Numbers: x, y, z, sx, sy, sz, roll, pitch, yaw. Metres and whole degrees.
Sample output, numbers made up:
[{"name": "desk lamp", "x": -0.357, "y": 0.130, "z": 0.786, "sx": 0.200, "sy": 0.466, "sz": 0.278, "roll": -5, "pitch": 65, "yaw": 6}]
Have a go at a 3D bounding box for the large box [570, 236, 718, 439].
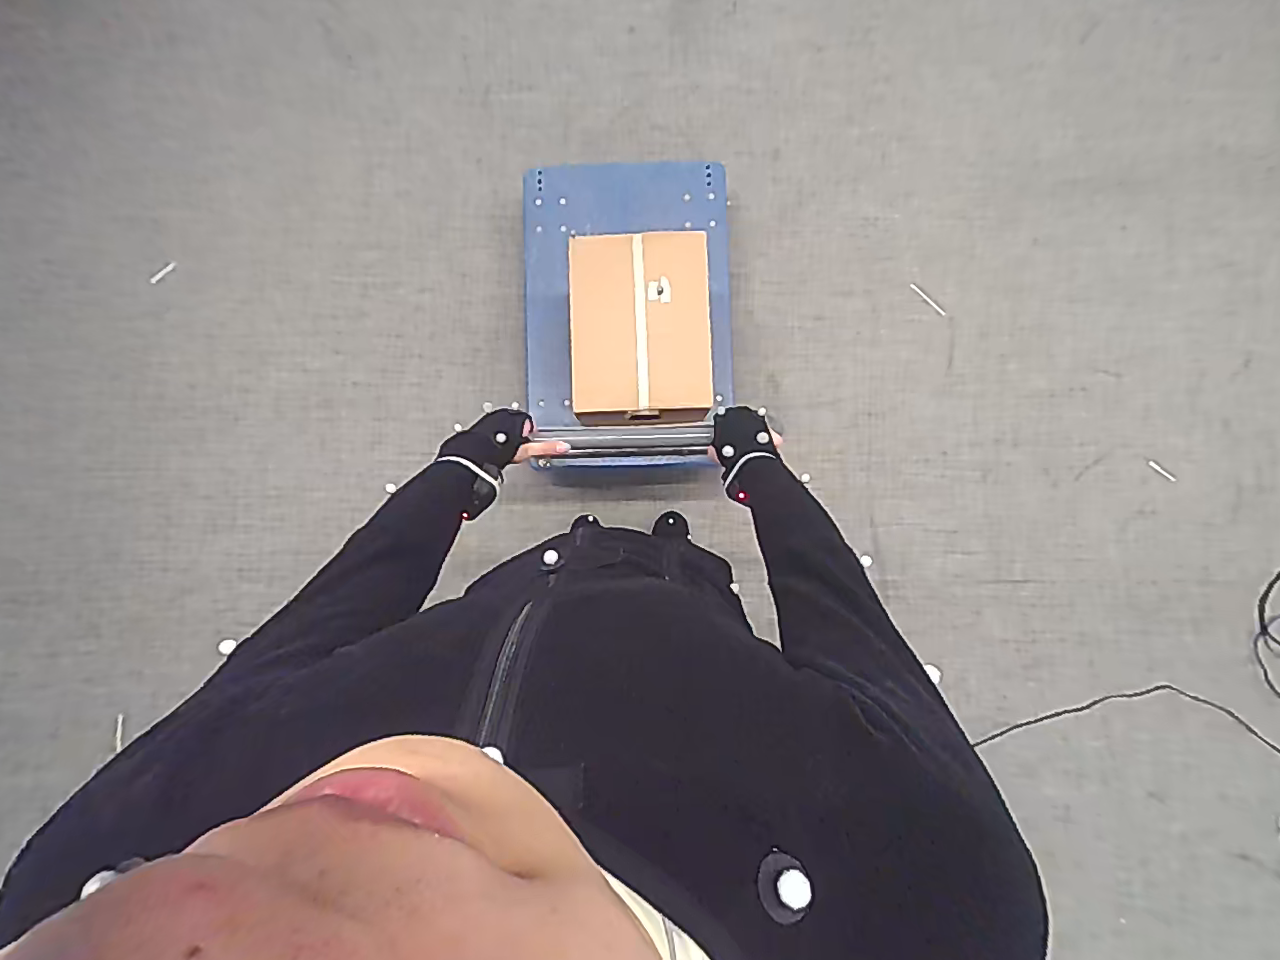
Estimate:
[{"name": "large box", "x": 0.008, "y": -0.328, "z": 1.339, "sx": 0.320, "sy": 0.320, "sz": 0.408, "roll": -2, "pitch": 85, "yaw": 0}]
